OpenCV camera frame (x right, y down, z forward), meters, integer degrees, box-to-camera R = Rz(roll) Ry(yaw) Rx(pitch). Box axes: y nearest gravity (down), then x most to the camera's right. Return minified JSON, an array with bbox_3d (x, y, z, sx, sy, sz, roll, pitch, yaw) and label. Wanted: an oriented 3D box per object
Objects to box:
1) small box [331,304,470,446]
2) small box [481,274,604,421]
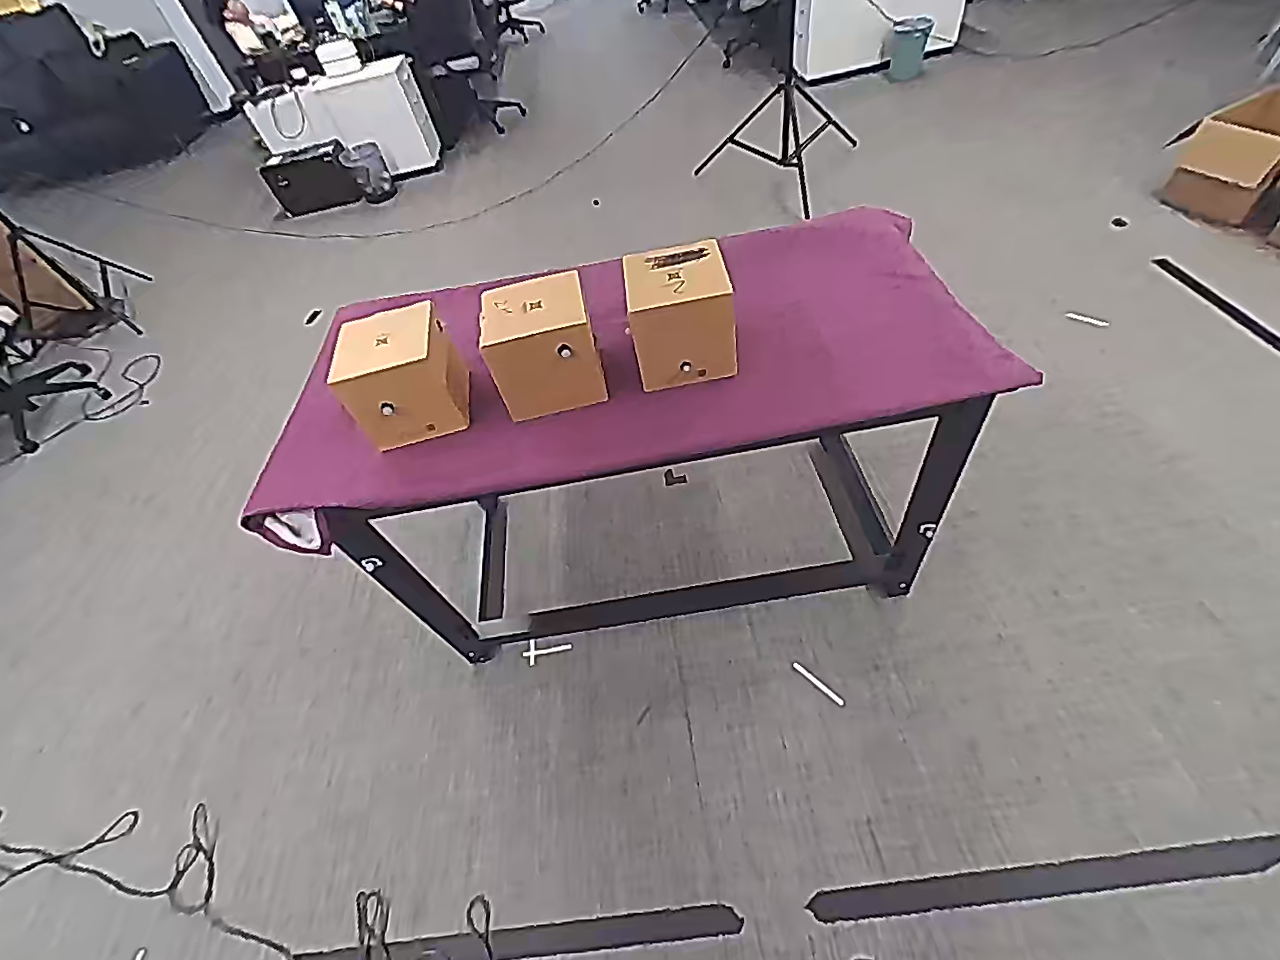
[{"bbox_3d":[-0.416,-0.180,0.971,0.168,0.176,0.179,-16,49,-1],"label":"small box"},{"bbox_3d":[-0.166,-0.231,0.955,0.179,0.176,0.168,-13,49,0],"label":"small box"}]
